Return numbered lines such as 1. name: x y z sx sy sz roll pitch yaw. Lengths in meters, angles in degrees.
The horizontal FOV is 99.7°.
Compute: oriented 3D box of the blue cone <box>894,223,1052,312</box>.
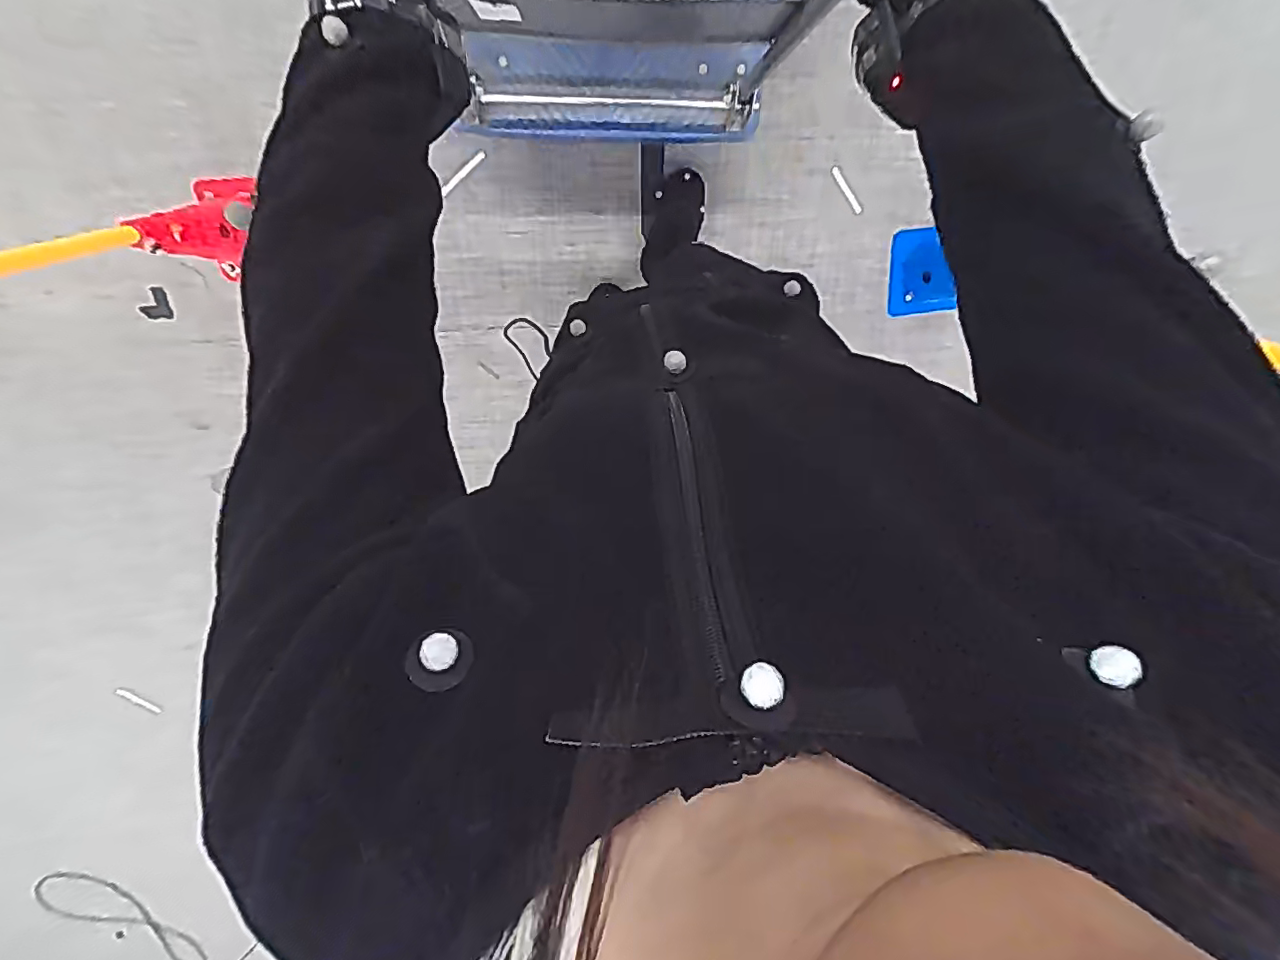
1. blue cone: 0.726 -0.445 1.165 0.193 0.380 0.192 -6 115 -3
